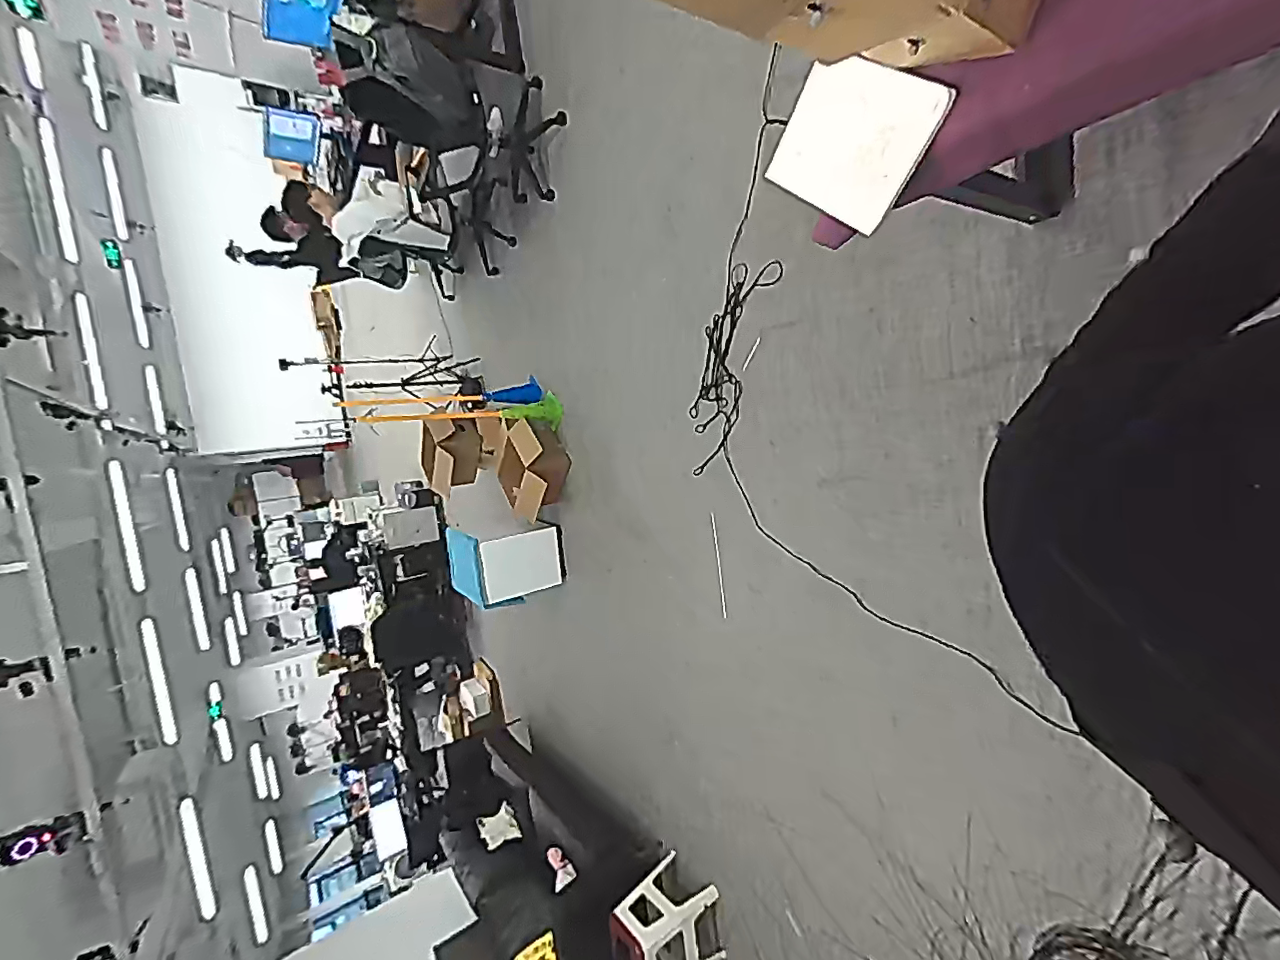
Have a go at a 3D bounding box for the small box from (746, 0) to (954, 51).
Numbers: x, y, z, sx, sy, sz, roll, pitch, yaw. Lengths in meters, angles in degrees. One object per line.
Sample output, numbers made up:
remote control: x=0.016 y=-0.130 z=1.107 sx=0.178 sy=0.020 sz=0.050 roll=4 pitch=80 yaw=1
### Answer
small box: x=0.234 y=-0.582 z=0.551 sx=0.179 sy=0.176 sz=0.168 roll=25 pitch=119 yaw=51

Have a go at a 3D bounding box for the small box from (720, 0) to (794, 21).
small box: x=0.096 y=-0.558 z=0.465 sx=0.168 sy=0.176 sz=0.179 roll=-12 pitch=89 yaw=57
